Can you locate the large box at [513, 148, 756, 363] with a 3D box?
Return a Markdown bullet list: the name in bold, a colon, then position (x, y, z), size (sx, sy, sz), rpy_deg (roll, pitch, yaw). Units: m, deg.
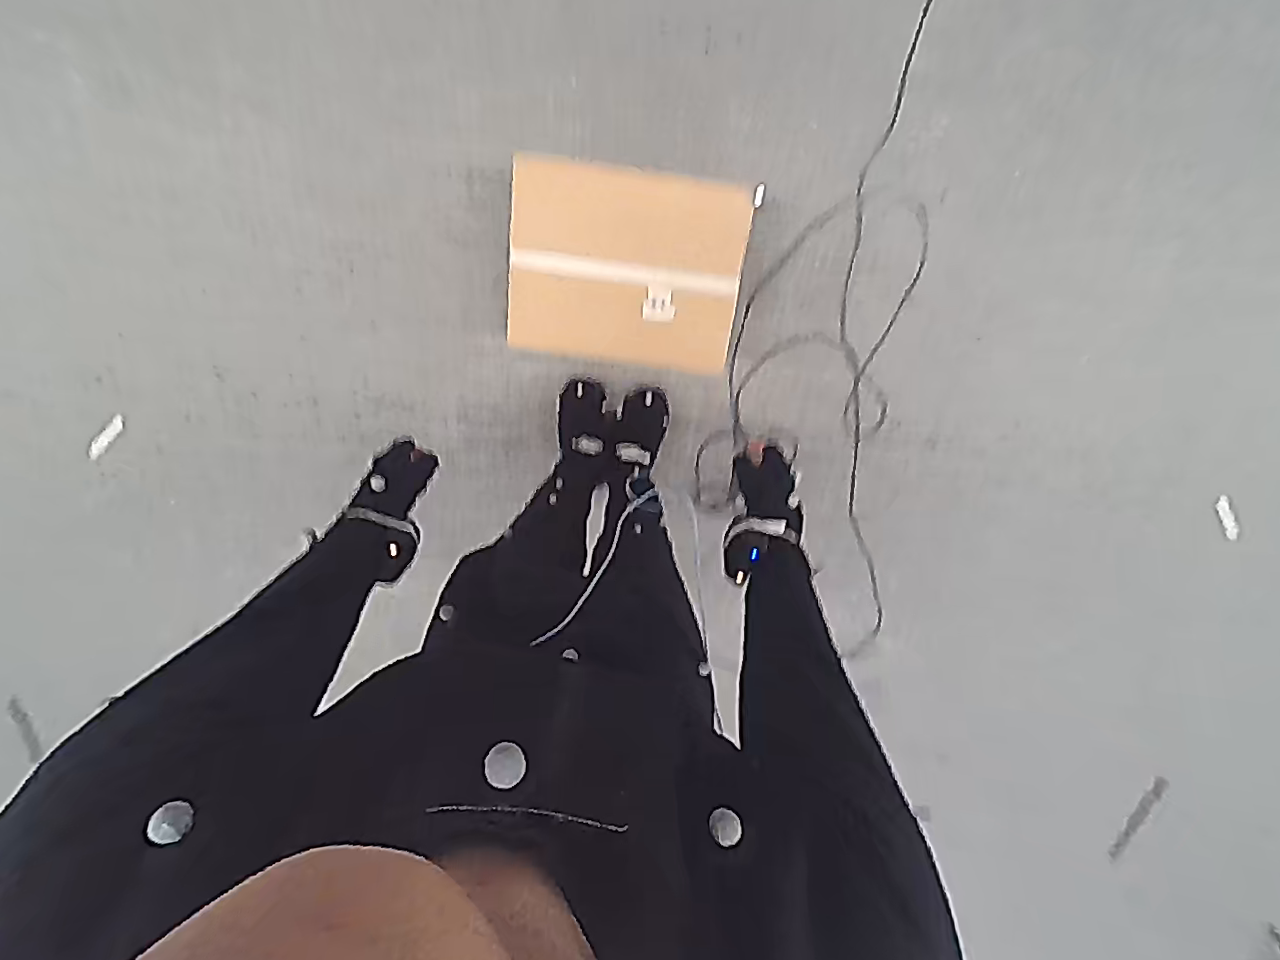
- **large box**: position (-0.022, -0.436, 1.083), size (0.408, 0.320, 0.320), rpy_deg (7, 113, -3)
